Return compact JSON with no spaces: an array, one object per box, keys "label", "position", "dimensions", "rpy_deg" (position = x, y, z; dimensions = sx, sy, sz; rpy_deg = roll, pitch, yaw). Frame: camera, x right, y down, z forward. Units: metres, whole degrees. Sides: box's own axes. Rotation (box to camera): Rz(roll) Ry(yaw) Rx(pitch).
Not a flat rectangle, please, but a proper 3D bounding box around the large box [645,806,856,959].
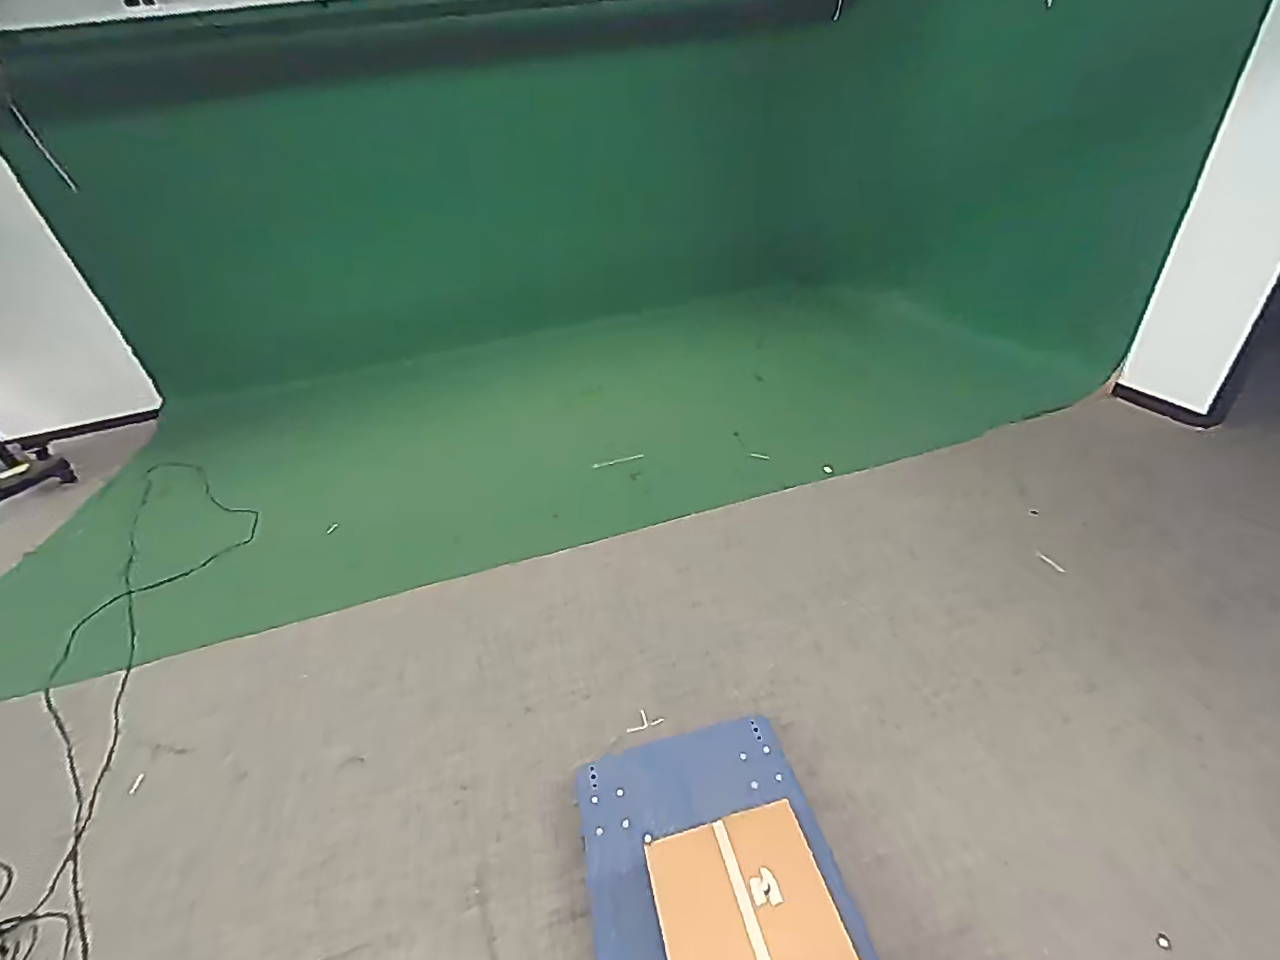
[{"label":"large box","position":[0.222,0.938,1.028],"dimensions":[0.320,0.320,0.408],"rpy_deg":[-13,33,-7]}]
